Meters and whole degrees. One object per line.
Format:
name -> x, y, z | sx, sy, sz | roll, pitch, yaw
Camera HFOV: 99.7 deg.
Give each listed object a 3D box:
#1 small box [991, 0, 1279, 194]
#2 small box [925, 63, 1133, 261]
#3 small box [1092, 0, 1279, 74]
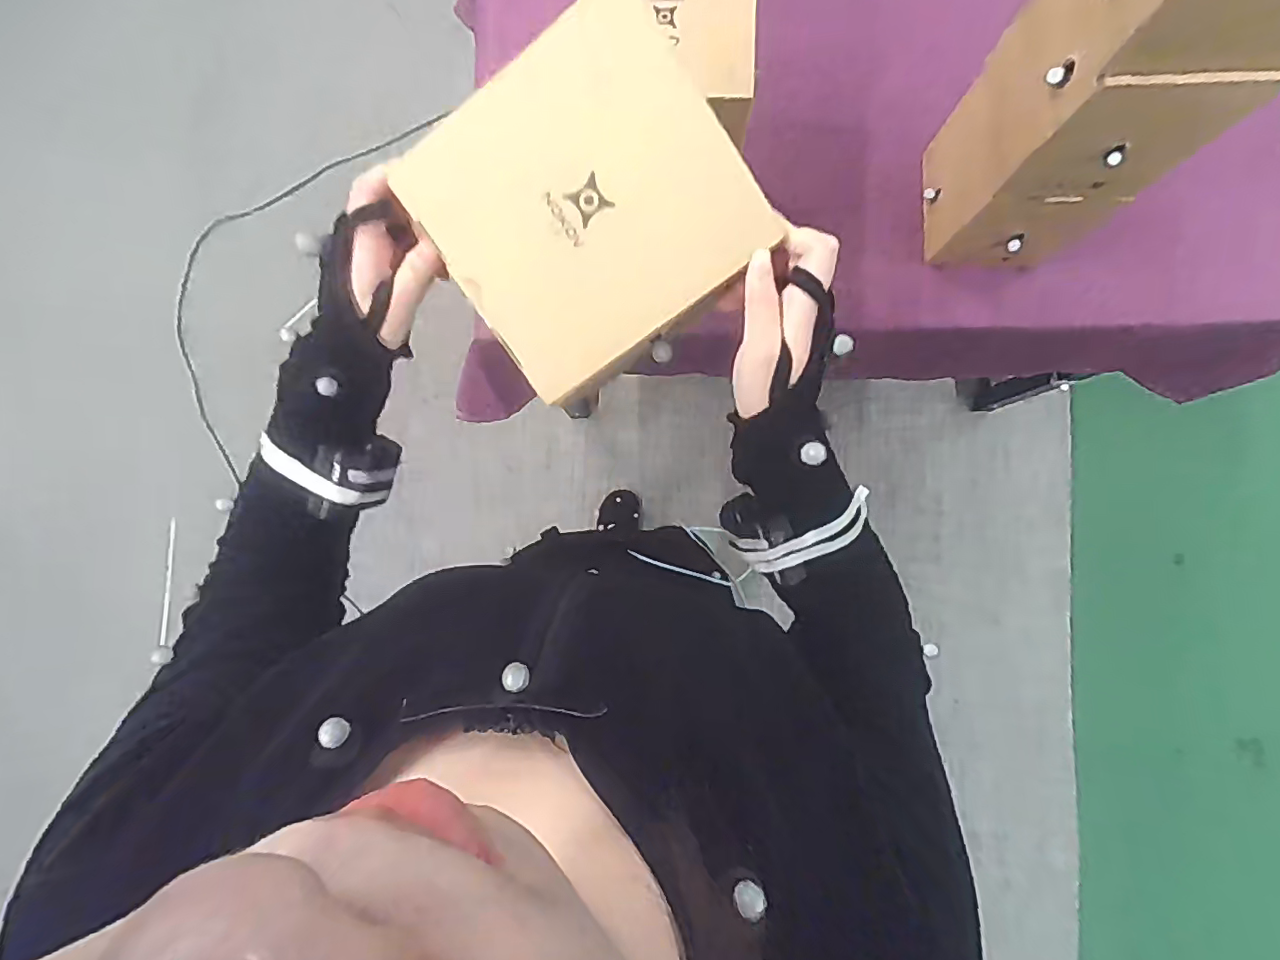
small box -> 0.493, -0.421, 0.556 | 0.168, 0.176, 0.179 | 1, 86, 2
small box -> 0.502, -0.410, 0.721 | 0.168, 0.176, 0.179 | 1, 87, 2
small box -> 0.483, -0.437, 0.394 | 0.179, 0.176, 0.168 | 0, 85, 3
